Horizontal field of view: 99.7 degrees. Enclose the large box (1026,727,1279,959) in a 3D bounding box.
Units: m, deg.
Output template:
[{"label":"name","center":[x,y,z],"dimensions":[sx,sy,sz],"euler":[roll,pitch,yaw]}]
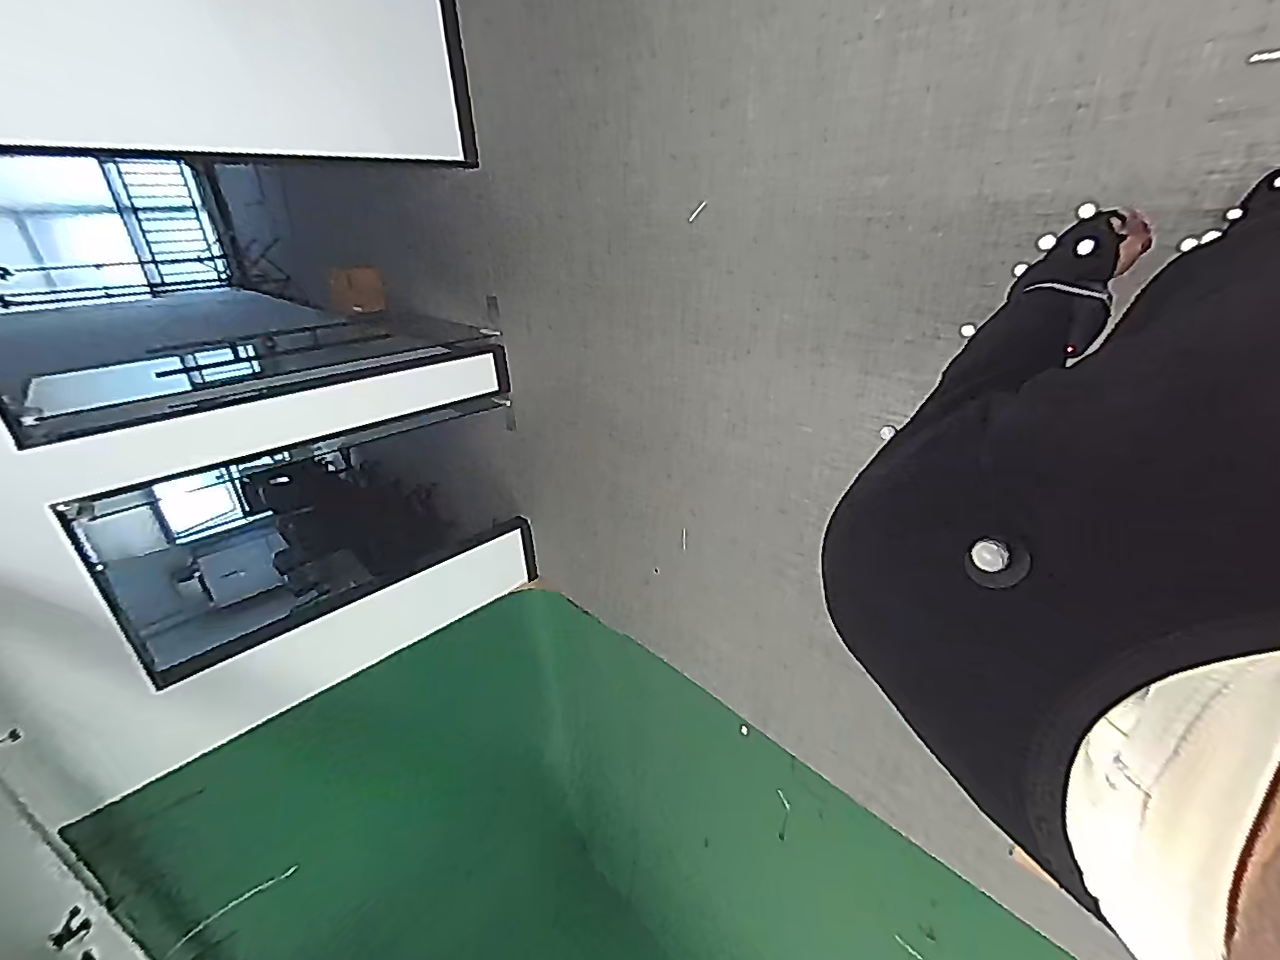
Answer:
[{"label":"large box","center":[1.307,0.939,1.394],"dimensions":[0.408,0.320,0.320],"euler":[22,124,43]}]
